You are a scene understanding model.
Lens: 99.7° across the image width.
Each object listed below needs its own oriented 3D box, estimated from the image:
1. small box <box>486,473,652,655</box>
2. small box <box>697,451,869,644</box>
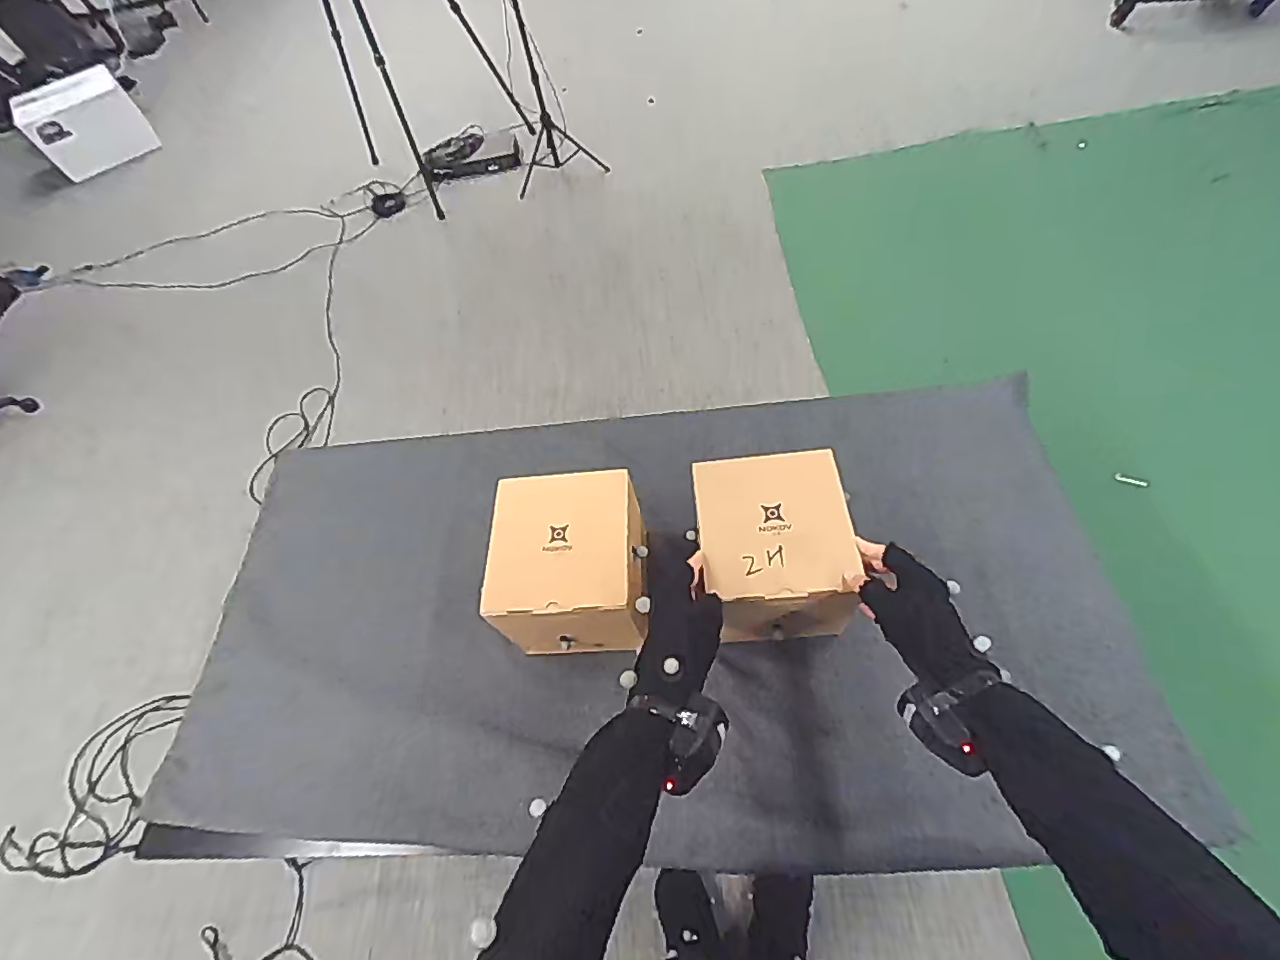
[{"bbox_3d":[-0.078,0.113,0.695,0.168,0.176,0.179,-6,58,8],"label":"small box"},{"bbox_3d":[0.161,0.089,0.665,0.168,0.176,0.179,-7,58,7],"label":"small box"}]
